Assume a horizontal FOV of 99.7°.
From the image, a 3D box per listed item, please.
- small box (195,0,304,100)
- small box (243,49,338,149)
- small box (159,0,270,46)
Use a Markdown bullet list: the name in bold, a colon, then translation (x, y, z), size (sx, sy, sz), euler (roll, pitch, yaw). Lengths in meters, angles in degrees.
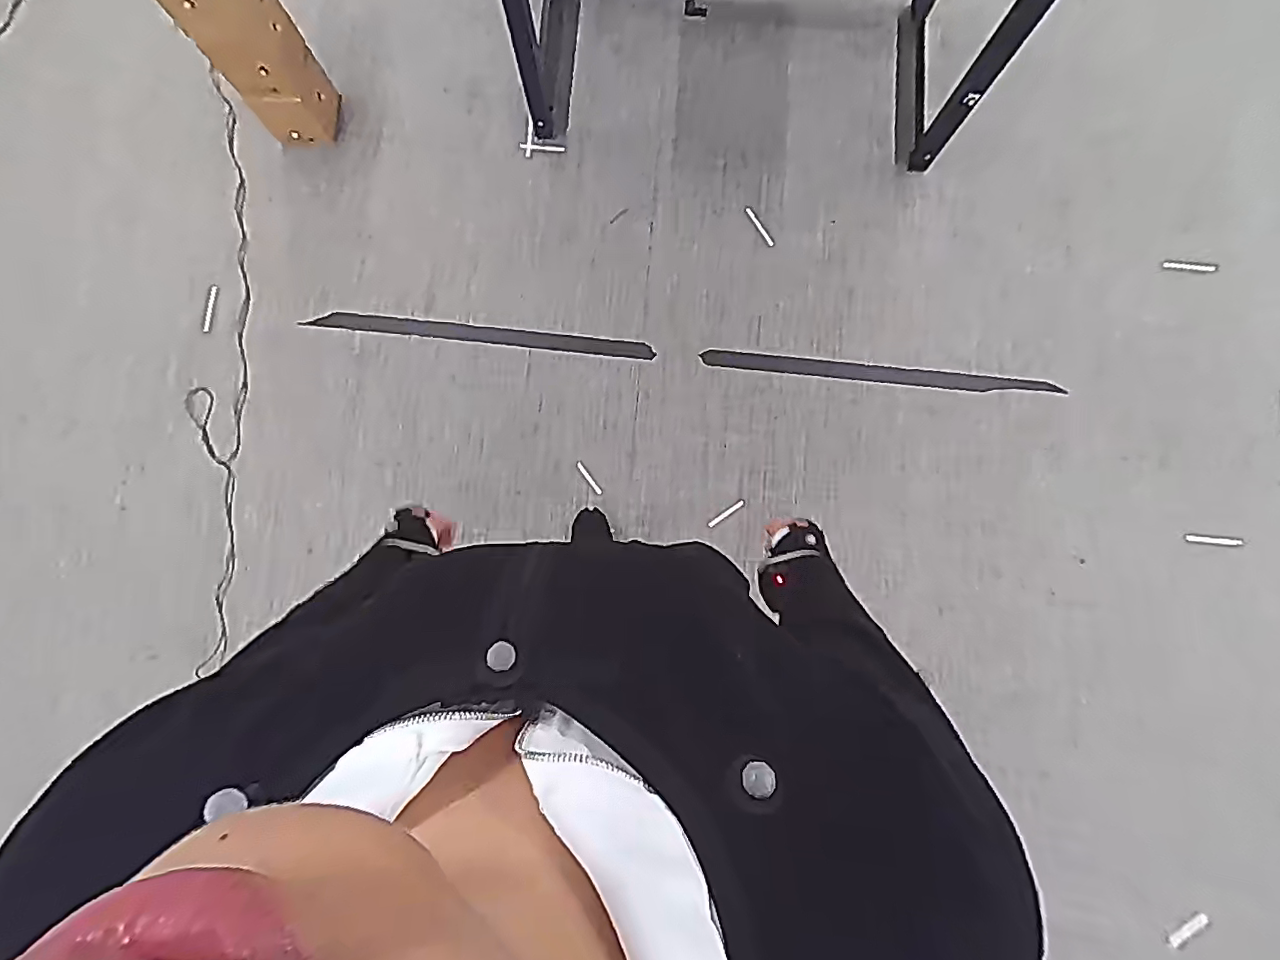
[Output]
- **small box**: translation (-1.007, -1.128, 1.408), size (0.168, 0.176, 0.179), euler (-2, 82, -2)
- **small box**: translation (-1.005, -1.103, 1.568), size (0.168, 0.176, 0.179), euler (1, 84, 0)
- **small box**: translation (-1.001, -1.145, 1.245), size (0.179, 0.176, 0.168), euler (1, 83, 0)
